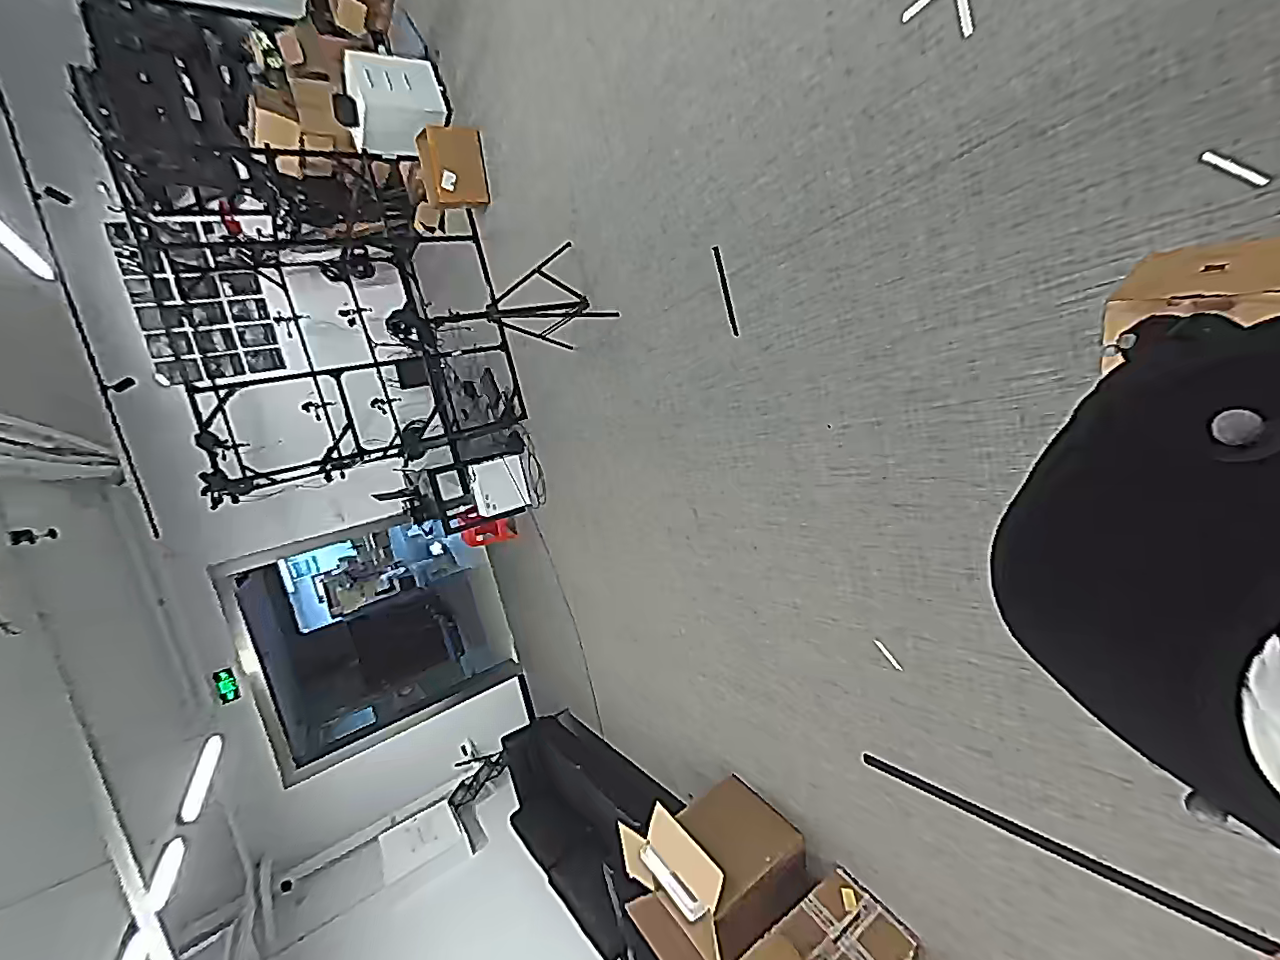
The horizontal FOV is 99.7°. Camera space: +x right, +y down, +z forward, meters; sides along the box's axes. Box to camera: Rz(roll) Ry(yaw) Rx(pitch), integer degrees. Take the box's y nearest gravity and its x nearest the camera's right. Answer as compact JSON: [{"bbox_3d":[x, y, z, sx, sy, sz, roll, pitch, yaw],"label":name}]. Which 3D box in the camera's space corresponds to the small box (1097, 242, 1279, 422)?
[{"bbox_3d":[0.732,-0.192,0.712,0.168,0.179,0.176,18,137,50],"label":"small box"}]
